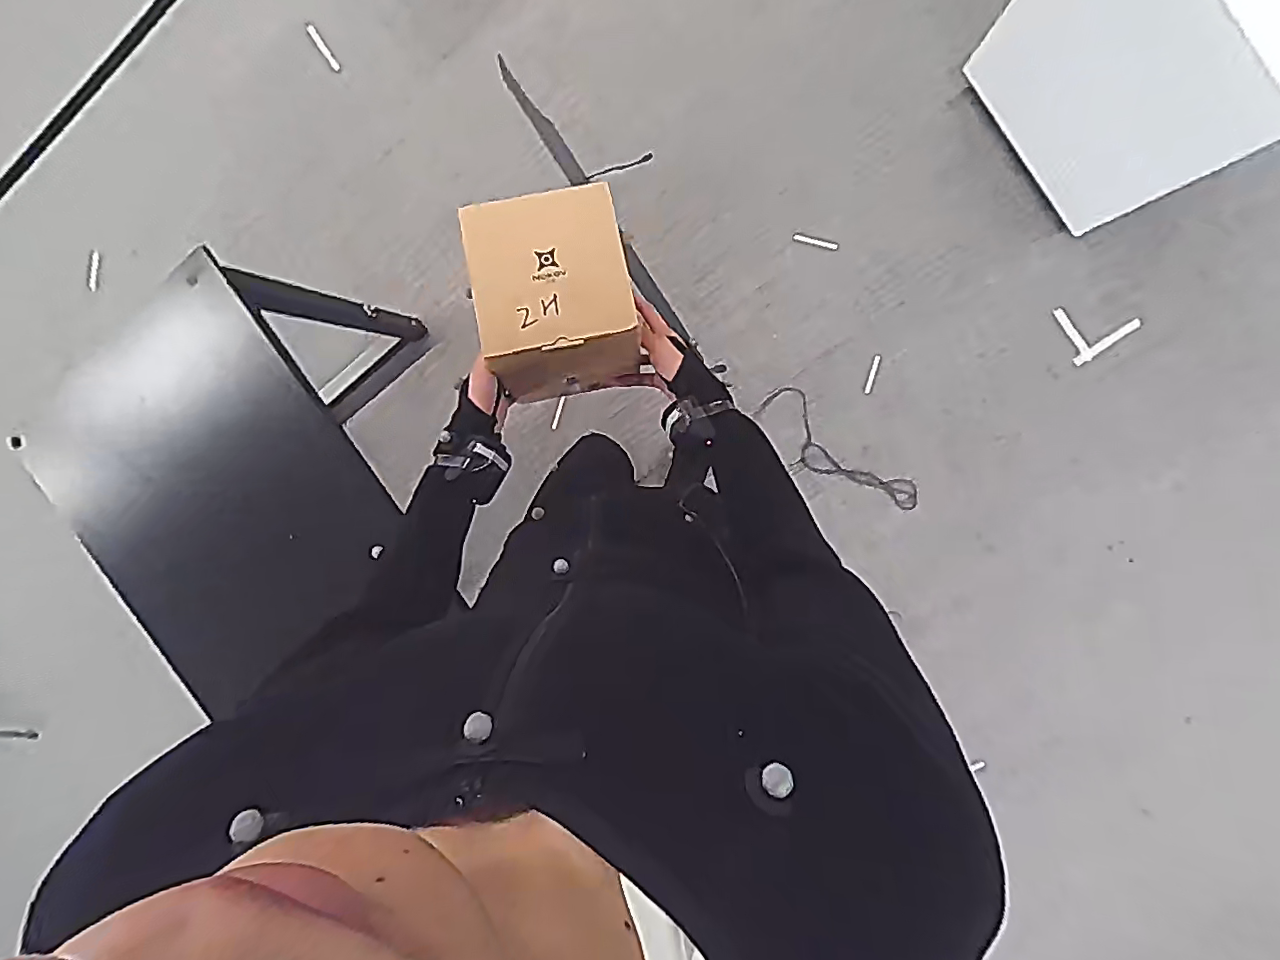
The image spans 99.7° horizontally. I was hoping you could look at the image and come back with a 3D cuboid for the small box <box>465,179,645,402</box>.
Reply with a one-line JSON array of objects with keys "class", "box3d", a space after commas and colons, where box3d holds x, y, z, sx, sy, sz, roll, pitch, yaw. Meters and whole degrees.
[{"class": "small box", "box3d": [-0.091, -0.209, 0.635, 0.168, 0.176, 0.179, -11, 81, -2]}]
